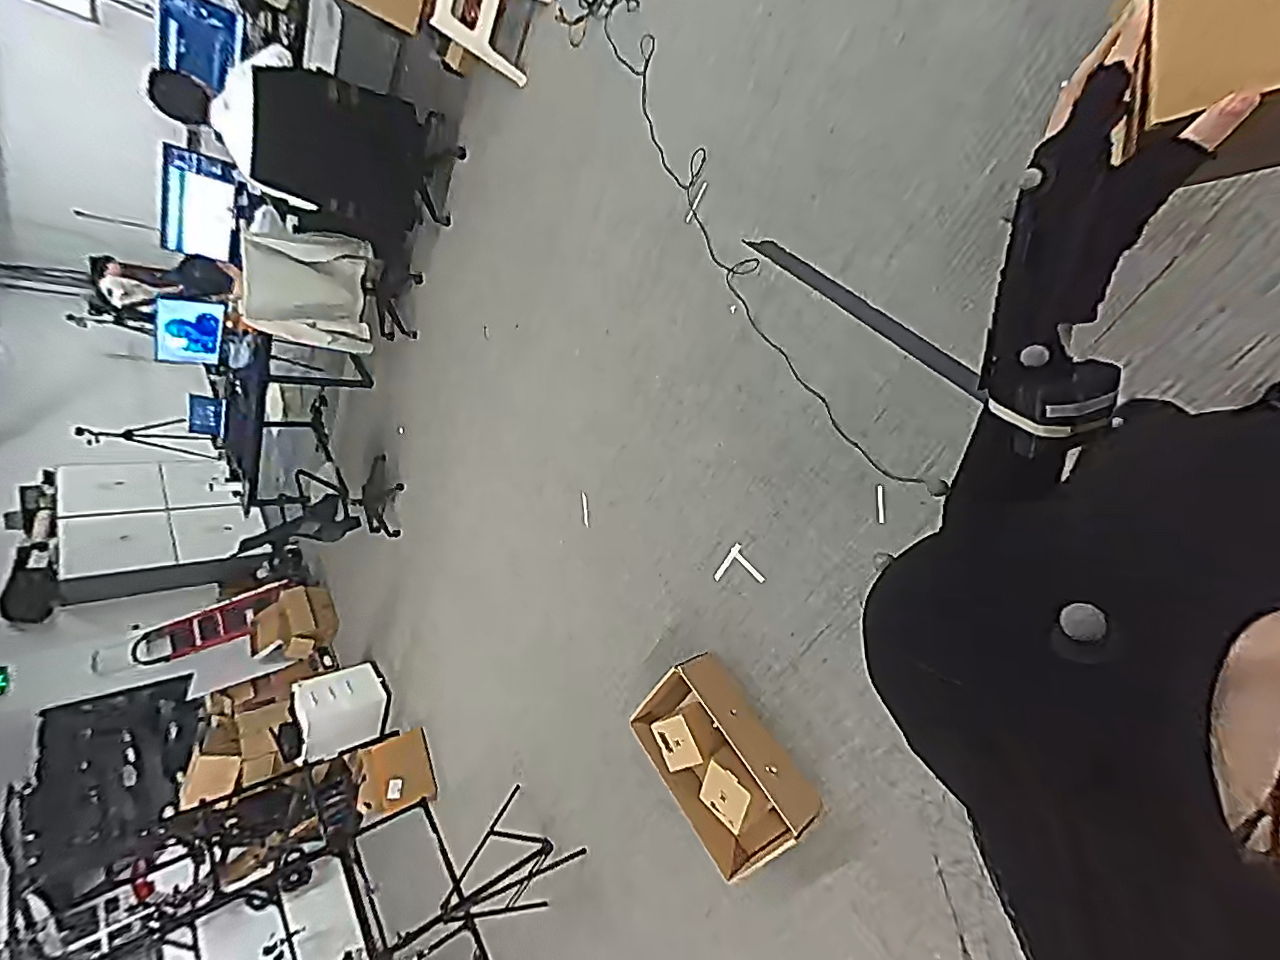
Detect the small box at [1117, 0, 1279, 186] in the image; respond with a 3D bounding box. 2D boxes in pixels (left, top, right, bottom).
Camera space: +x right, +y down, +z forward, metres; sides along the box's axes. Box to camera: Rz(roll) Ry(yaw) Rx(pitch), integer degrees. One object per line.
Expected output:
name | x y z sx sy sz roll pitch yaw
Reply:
small box | 0.385 -0.291 0.292 0.179 0.176 0.168 -2 97 37
